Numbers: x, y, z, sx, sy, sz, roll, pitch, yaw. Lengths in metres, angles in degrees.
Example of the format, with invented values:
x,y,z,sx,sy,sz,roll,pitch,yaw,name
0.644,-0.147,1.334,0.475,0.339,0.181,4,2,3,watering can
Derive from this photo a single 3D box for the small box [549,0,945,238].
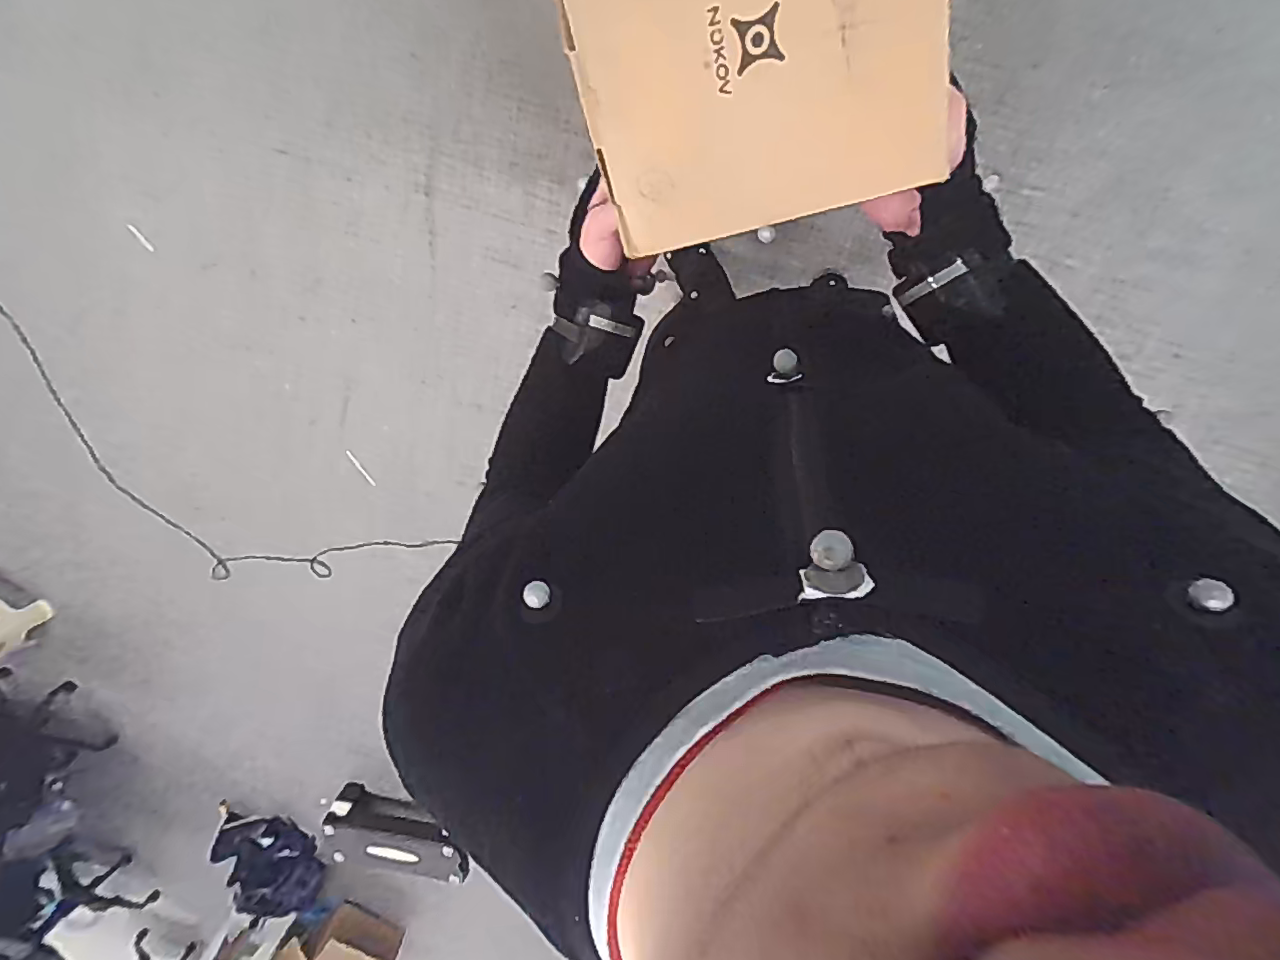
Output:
x,y,z,sx,sy,sz,roll,pitch,yaw,name
0.061,-0.260,0.318,0.179,0.176,0.168,-8,121,16,small box
